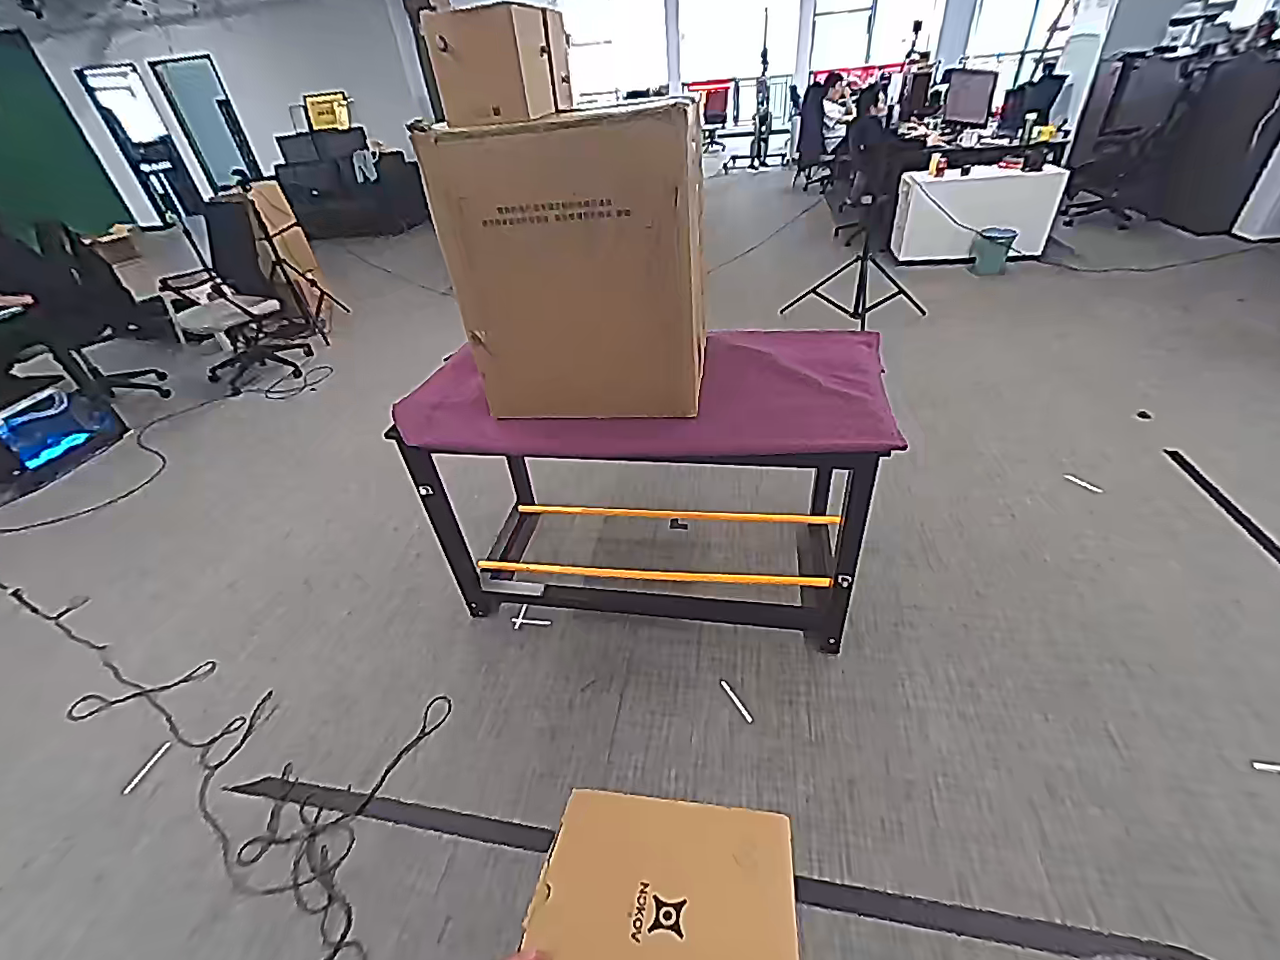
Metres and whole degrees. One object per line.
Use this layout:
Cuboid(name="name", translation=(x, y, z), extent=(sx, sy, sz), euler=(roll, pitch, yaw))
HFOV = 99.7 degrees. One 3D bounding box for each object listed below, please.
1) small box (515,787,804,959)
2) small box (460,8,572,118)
Cuboid(name="small box", translation=(0.020, 0.356, 0.378), extent=(0.179, 0.176, 0.168), euler=(0, 21, 11))
Cuboid(name="small box", translation=(-0.255, -0.884, 1.157), extent=(0.179, 0.176, 0.168), euler=(1, 38, 6))
